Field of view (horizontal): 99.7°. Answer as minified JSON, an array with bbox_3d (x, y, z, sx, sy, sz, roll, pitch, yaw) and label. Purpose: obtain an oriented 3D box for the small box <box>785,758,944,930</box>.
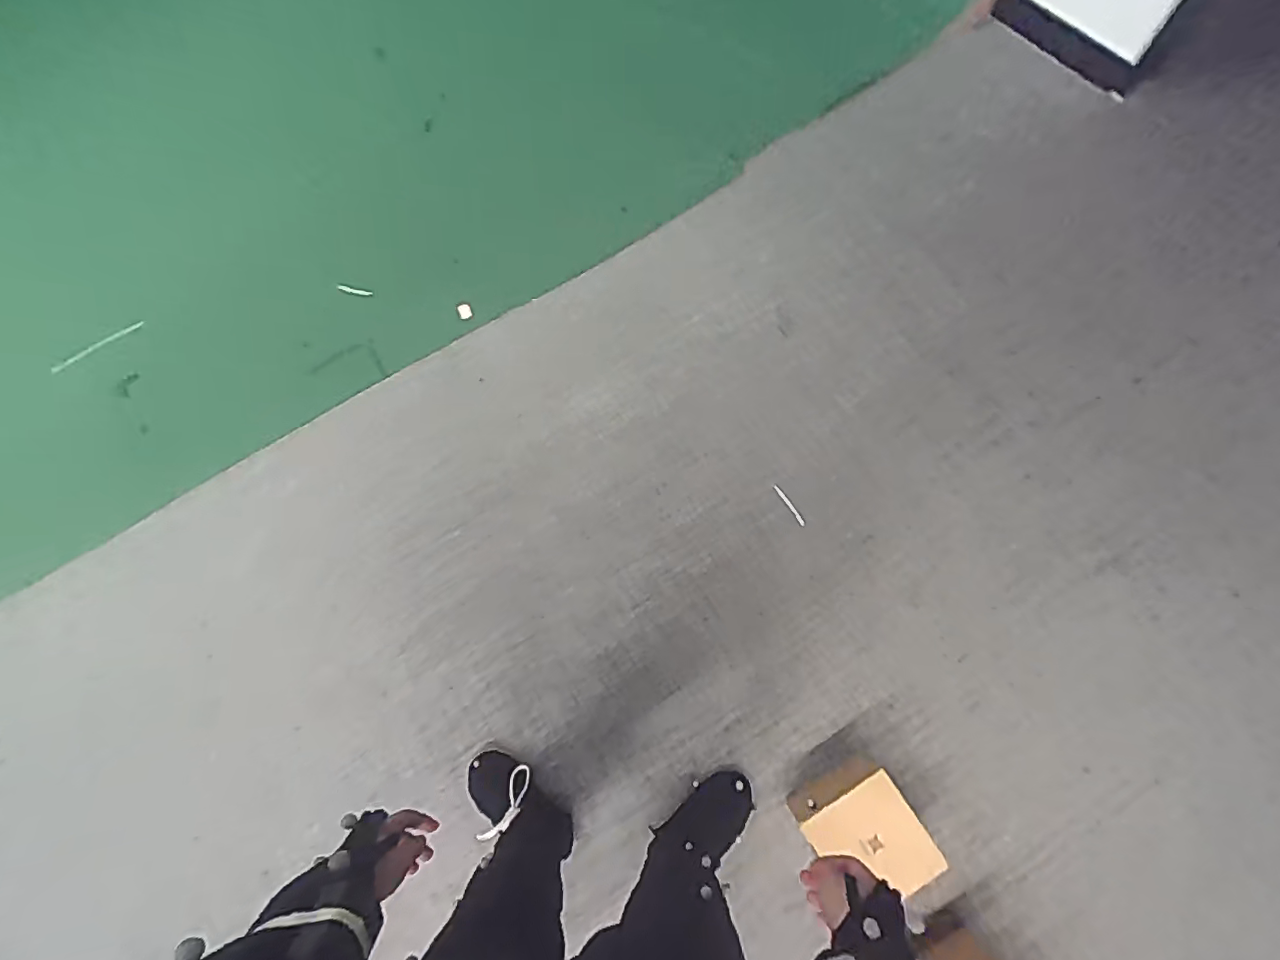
[{"bbox_3d":[0.378,0.618,0.948,0.179,0.176,0.168,-32,71,-4],"label":"small box"}]
